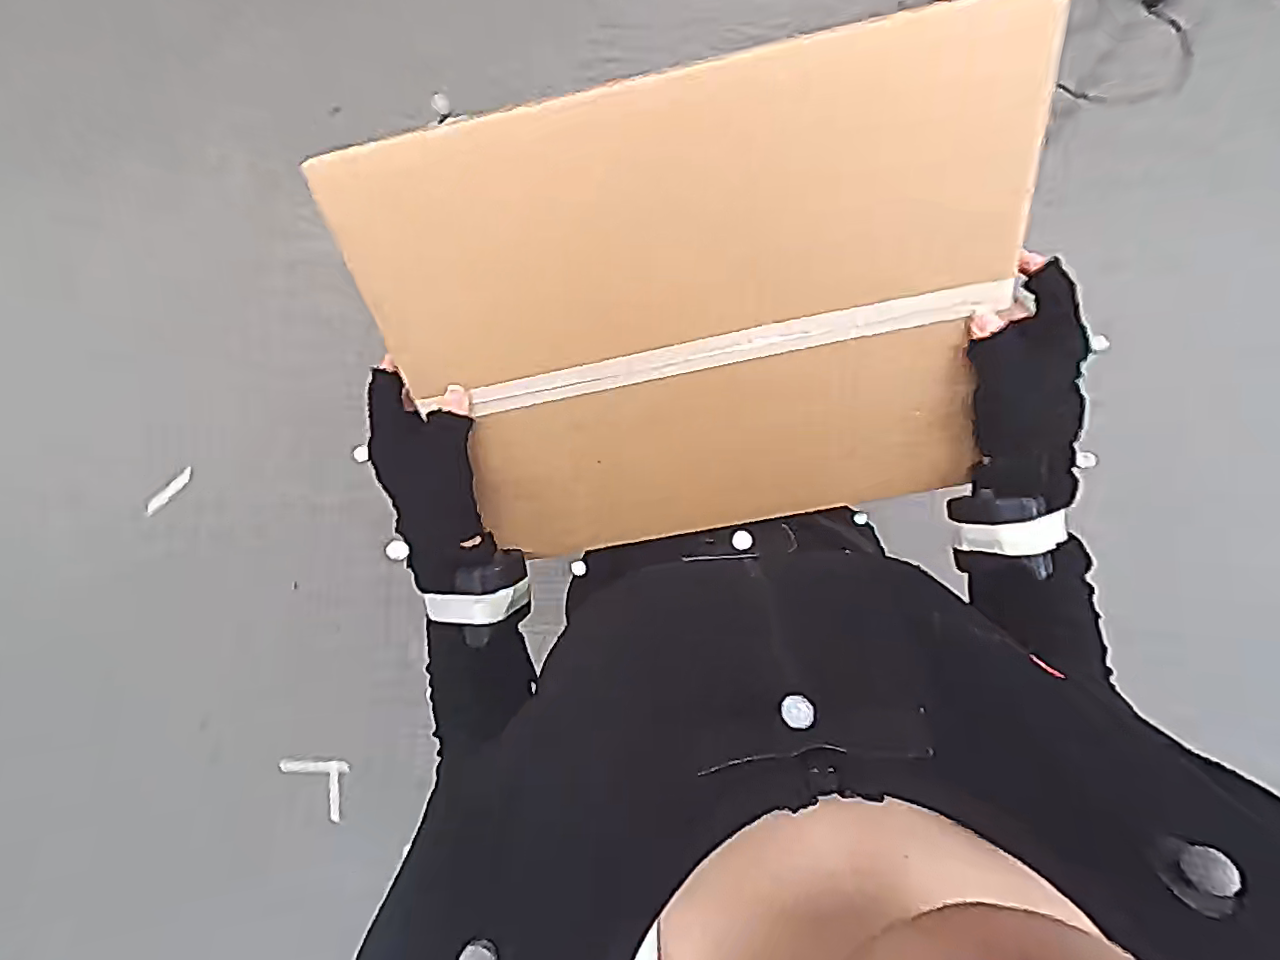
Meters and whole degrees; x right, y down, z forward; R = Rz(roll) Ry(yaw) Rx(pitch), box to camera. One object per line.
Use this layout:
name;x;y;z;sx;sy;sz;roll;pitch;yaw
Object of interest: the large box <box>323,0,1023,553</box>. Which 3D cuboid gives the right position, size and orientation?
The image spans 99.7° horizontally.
large box;0.029;-0.178;0.501;0.408;0.320;0.320;-11;126;5
